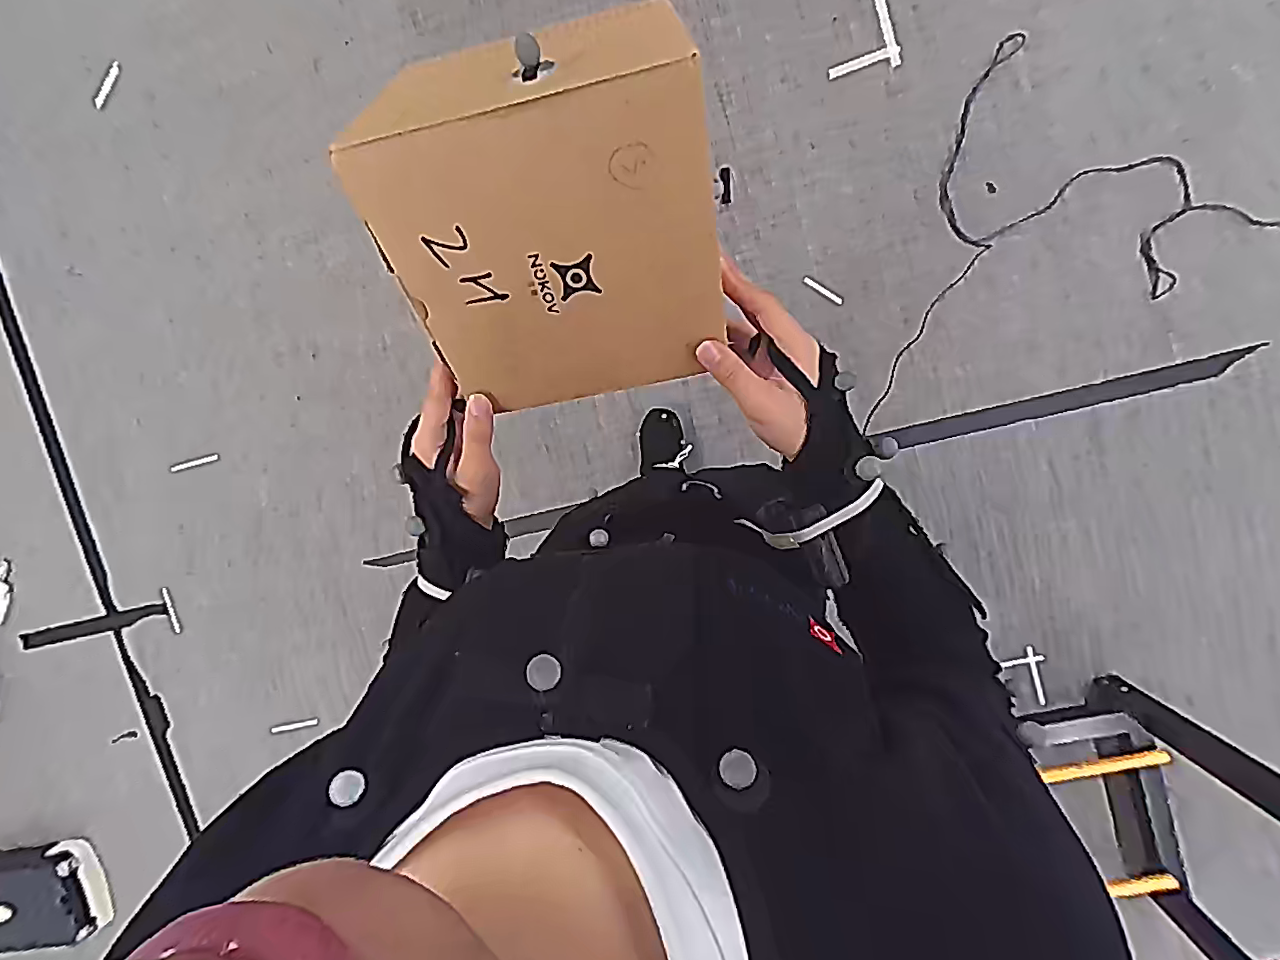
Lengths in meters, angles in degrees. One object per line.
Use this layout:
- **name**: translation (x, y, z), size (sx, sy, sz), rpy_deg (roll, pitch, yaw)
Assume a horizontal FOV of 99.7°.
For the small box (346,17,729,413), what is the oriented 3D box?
- **small box**: translation (-0.046, -0.172, 0.356), size (0.179, 0.176, 0.168), rpy_deg (-10, 137, 6)
